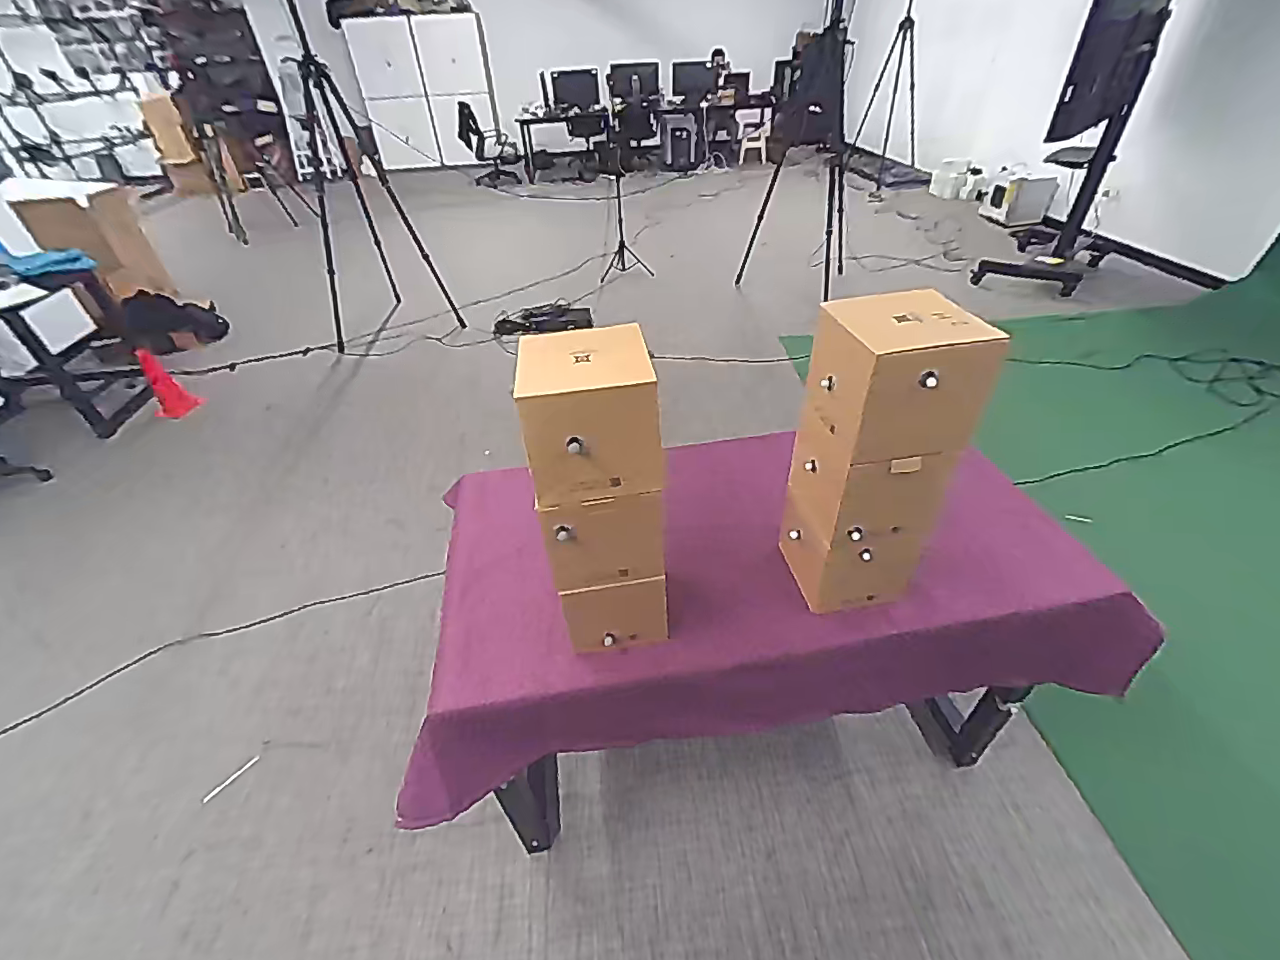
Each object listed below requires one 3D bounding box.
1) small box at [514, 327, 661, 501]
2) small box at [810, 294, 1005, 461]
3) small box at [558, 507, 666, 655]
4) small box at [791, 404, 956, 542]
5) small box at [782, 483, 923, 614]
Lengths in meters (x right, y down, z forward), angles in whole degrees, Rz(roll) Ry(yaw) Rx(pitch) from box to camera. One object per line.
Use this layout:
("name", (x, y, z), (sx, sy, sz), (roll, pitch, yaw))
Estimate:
("small box", (-0.066, -0.084, 0.726), (0.168, 0.176, 0.179), (-8, 38, -4))
("small box", (0.351, -0.141, 0.757), (0.179, 0.176, 0.168), (-8, 41, -5))
("small box", (-0.049, 0.172, 0.930), (0.168, 0.176, 0.179), (-8, 40, -4))
("small box", (0.357, -0.017, 0.865), (0.168, 0.176, 0.179), (-8, 39, -6))
("small box", (0.365, 0.110, 0.969), (0.168, 0.176, 0.179), (-9, 39, -4))
